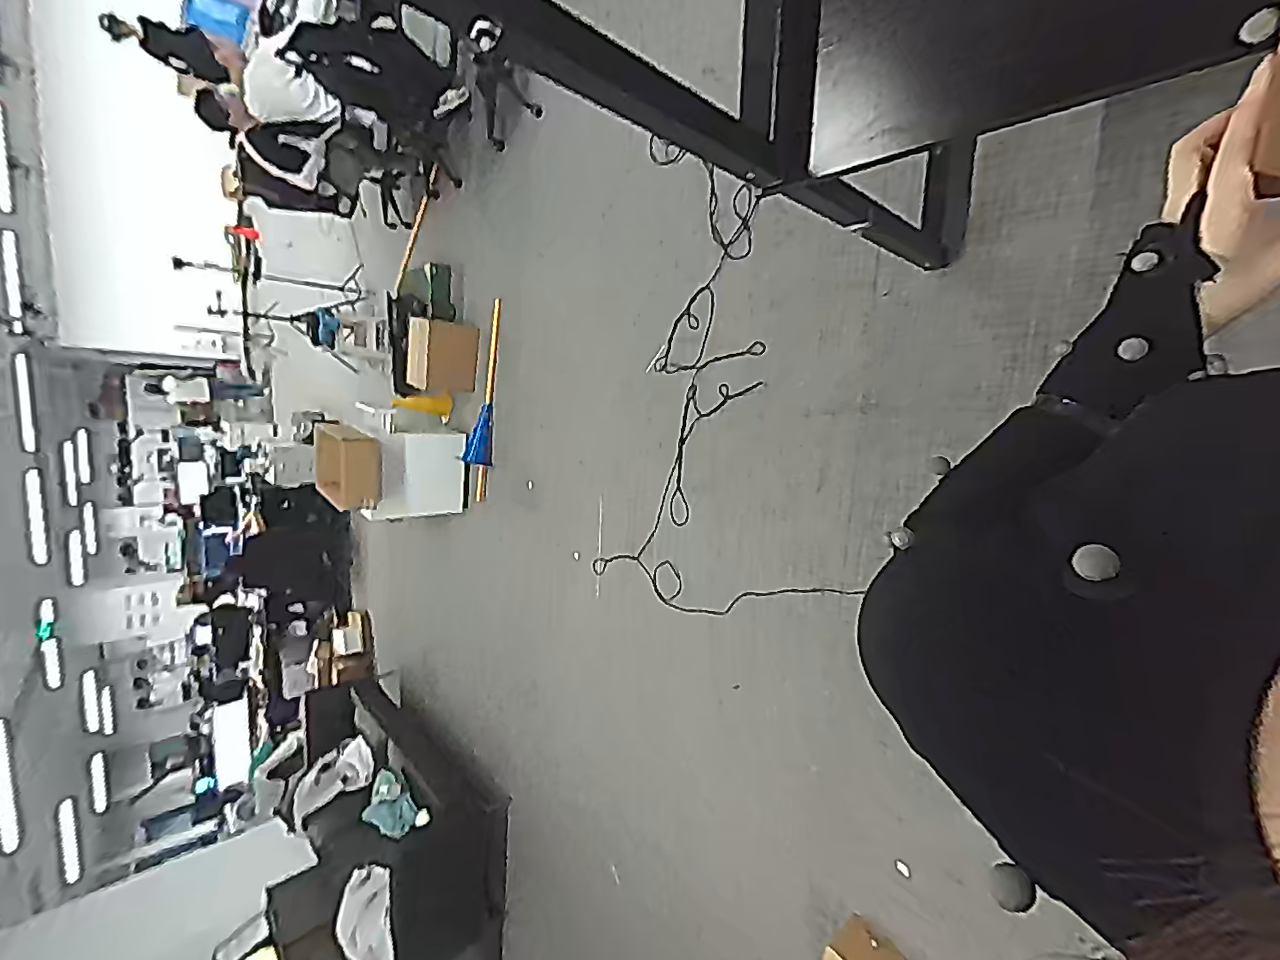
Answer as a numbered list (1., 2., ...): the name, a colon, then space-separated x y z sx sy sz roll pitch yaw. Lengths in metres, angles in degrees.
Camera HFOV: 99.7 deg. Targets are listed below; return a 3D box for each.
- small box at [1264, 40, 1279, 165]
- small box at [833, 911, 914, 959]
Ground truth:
1. small box: 0.397 -0.252 0.220 0.168 0.176 0.179 12 98 45
2. small box: 0.674 1.433 1.578 0.168 0.176 0.179 20 107 45
